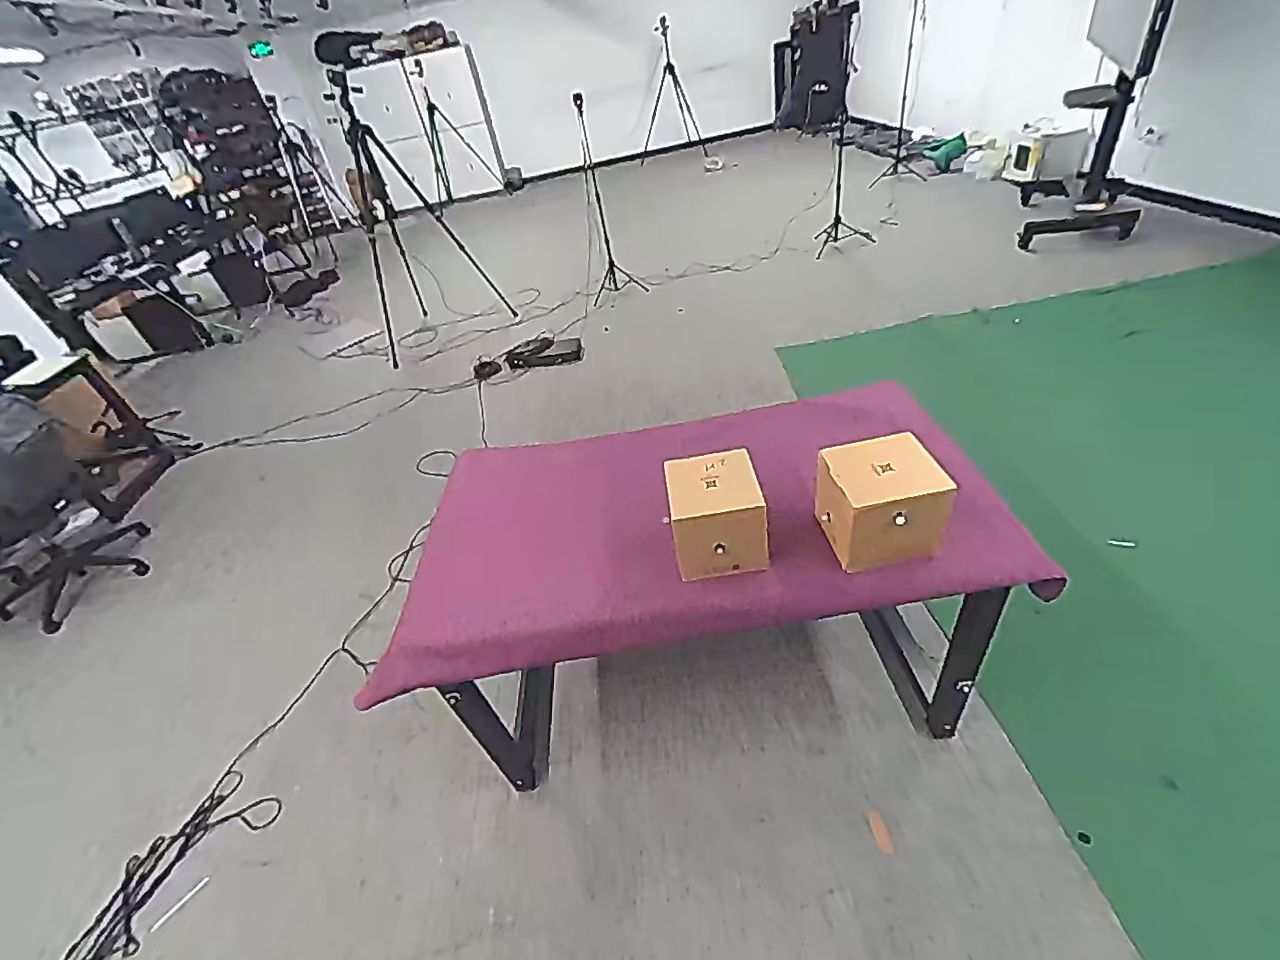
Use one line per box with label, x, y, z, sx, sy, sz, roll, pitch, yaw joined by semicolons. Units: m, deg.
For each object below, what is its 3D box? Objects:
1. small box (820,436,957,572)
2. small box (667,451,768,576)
small box;0.445;0.046;1.000;0.179;0.176;0.168;-12;39;3
small box;0.150;0.072;1.051;0.168;0.176;0.179;-9;37;5
